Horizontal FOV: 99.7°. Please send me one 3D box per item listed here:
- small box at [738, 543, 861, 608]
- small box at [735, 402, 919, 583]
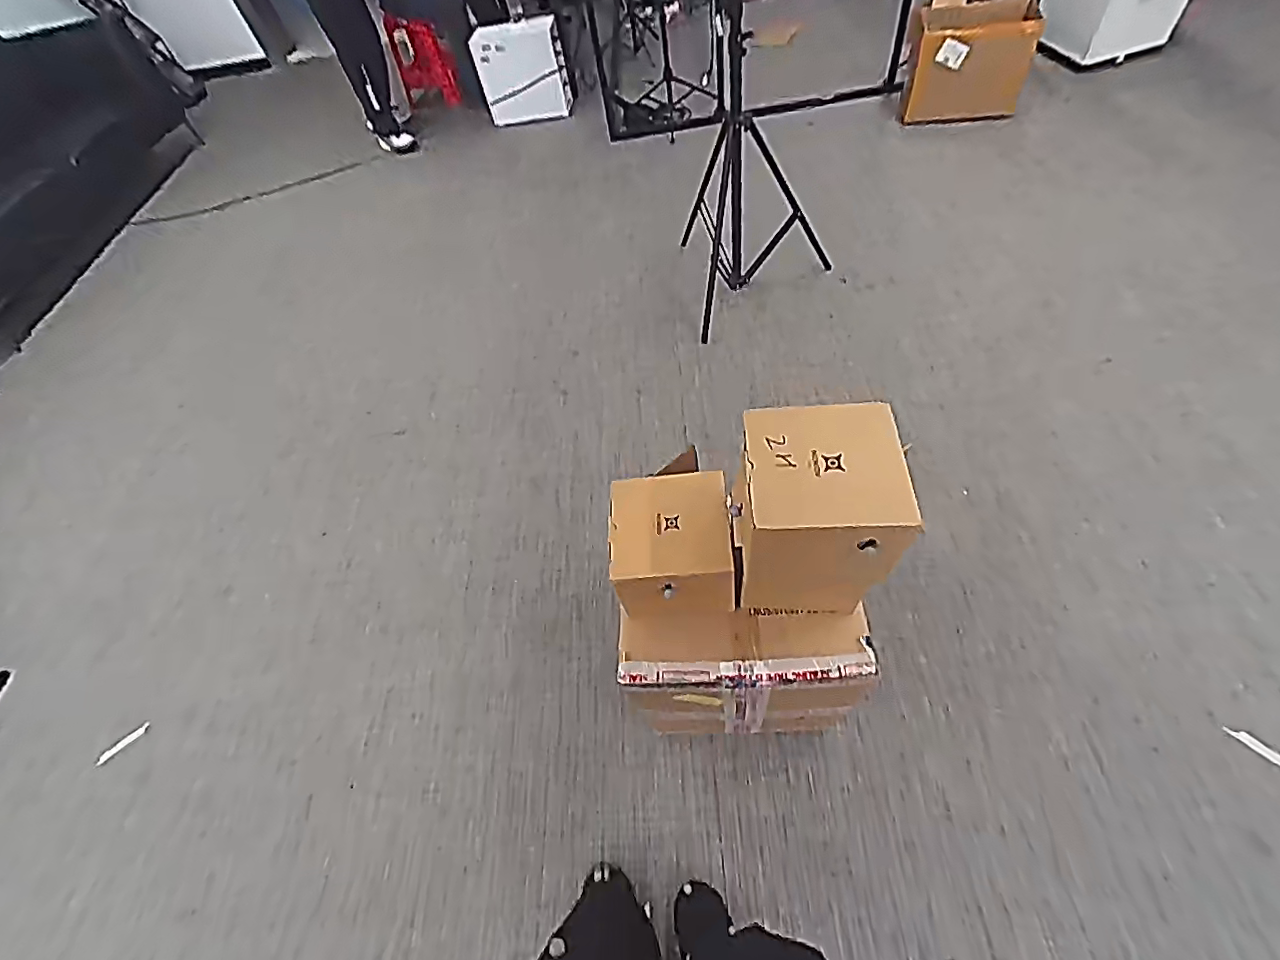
[{"bbox_3d":[0.239,0.089,0.822,0.179,0.176,0.168,1,58,8],"label":"small box"},{"bbox_3d":[0.213,0.022,0.672,0.179,0.176,0.168,-2,57,7],"label":"small box"}]
